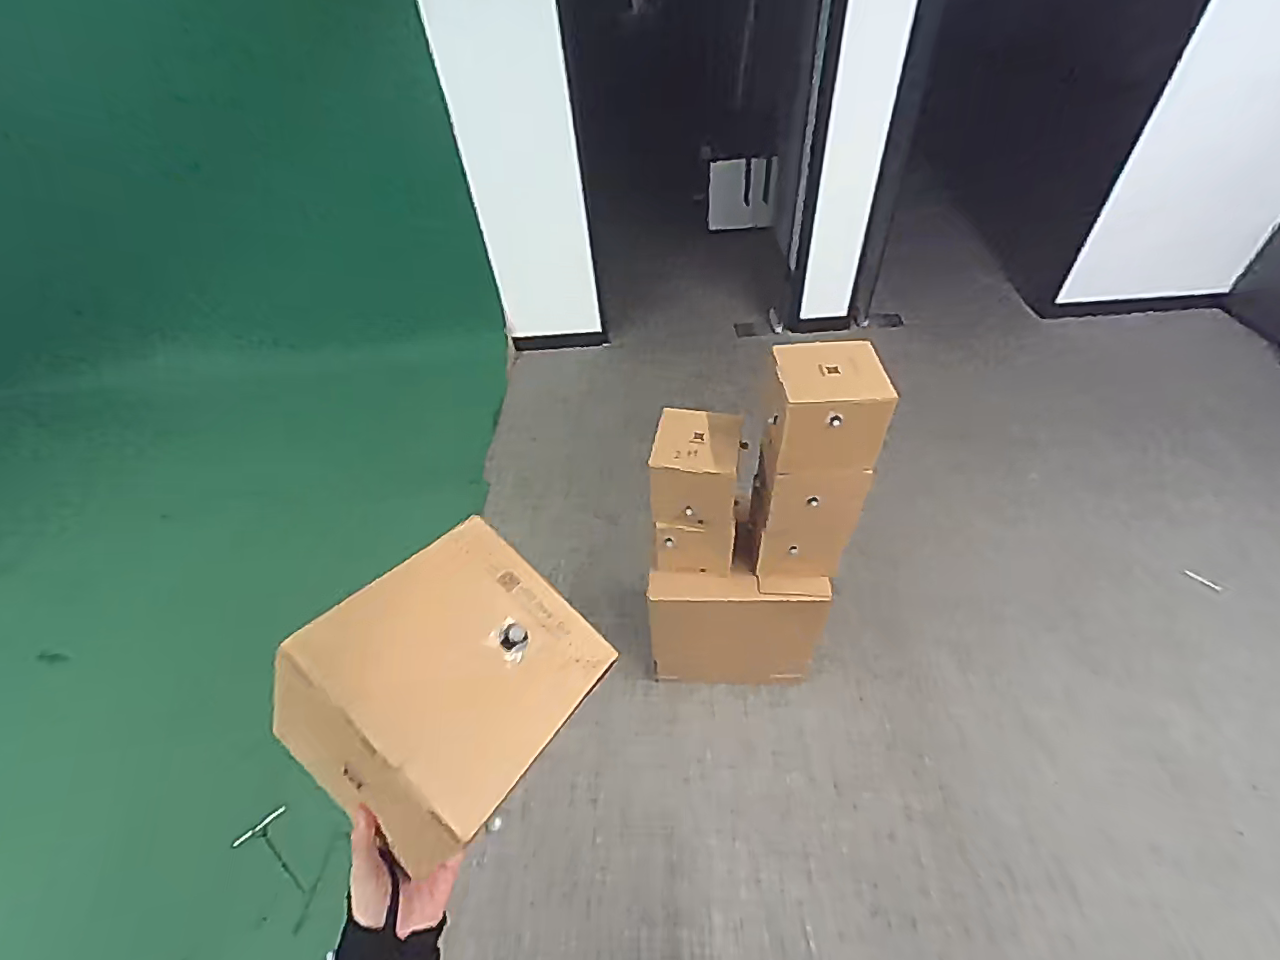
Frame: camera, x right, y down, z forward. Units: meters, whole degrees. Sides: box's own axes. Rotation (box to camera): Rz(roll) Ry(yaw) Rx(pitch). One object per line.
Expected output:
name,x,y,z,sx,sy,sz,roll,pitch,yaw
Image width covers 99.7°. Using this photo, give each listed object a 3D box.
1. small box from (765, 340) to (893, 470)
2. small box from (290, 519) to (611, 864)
small box,0.322,-0.131,0.967,0.179,0.176,0.168,-2,47,3
small box,-0.152,0.167,0.445,0.168,0.179,0.176,43,41,7
